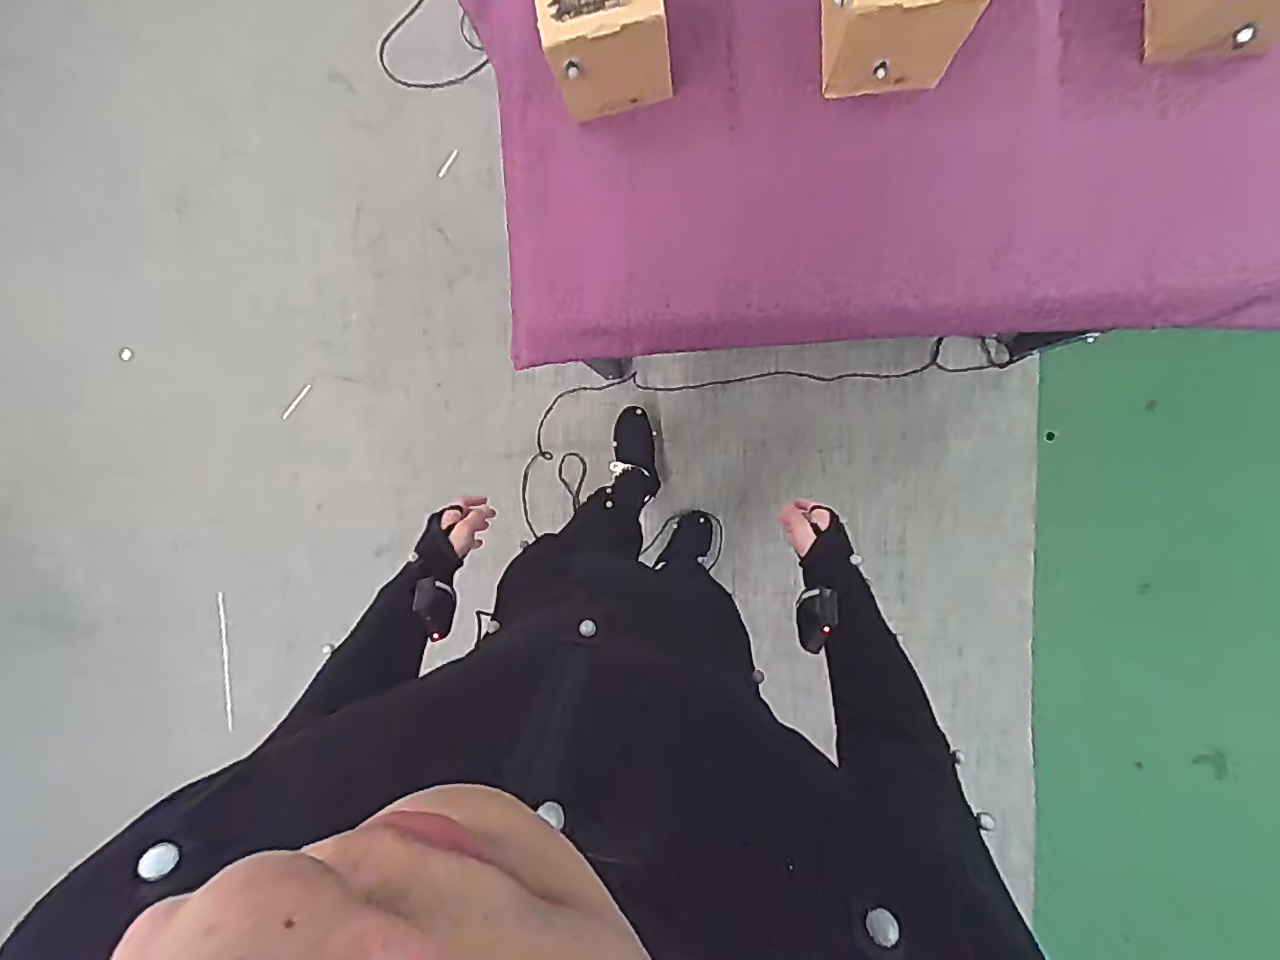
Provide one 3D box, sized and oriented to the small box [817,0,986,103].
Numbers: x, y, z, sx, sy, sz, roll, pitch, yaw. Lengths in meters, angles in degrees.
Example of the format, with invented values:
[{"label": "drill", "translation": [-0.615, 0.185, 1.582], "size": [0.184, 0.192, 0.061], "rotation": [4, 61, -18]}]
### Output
[{"label": "small box", "translation": [0.344, -0.661, 0.738], "size": [0.168, 0.176, 0.179], "rotation": [-2, 94, 6]}]
